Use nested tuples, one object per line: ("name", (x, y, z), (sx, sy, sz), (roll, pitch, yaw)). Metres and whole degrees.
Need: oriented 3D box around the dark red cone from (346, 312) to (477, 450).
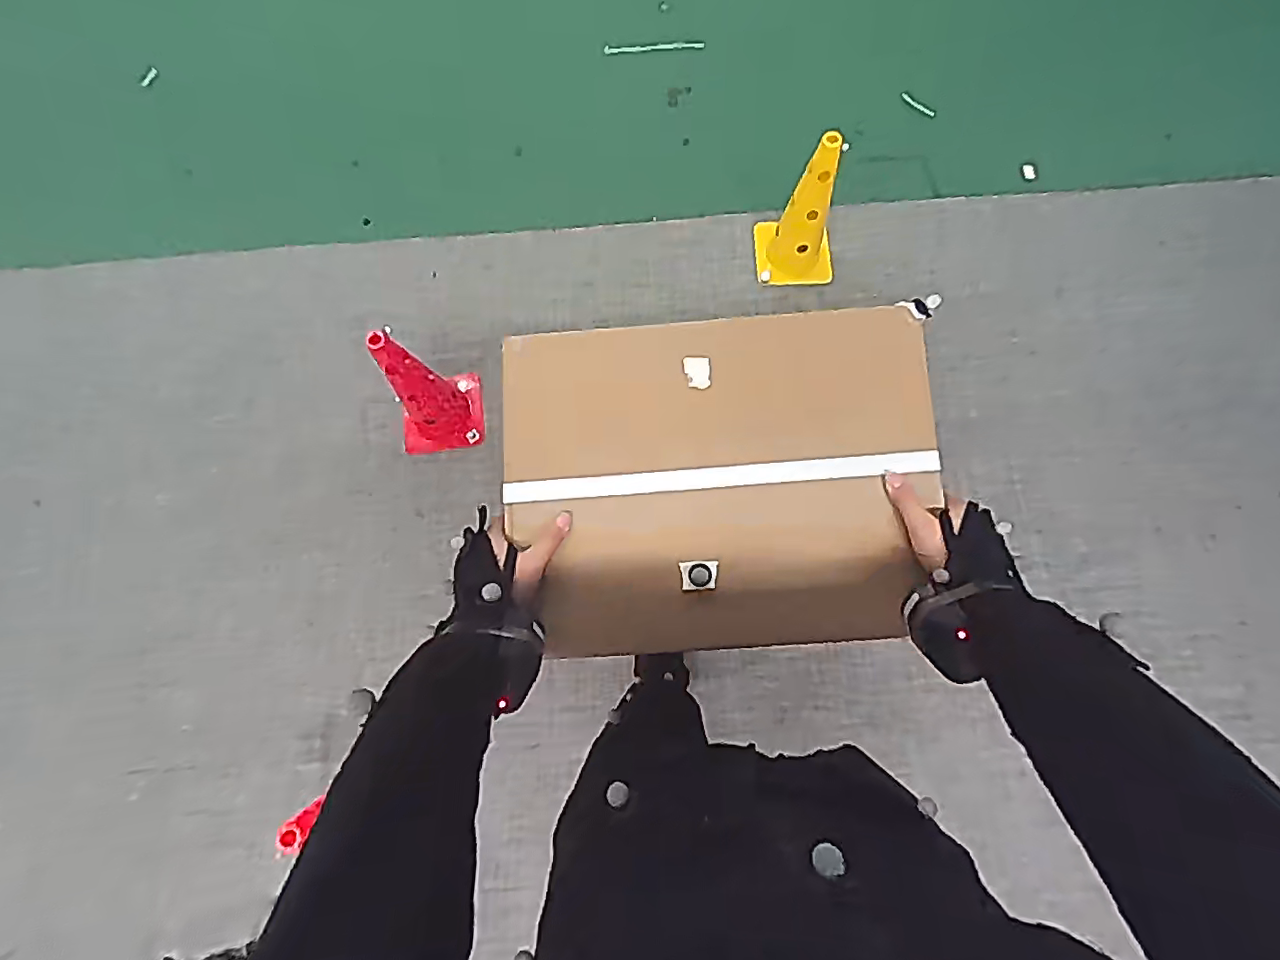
("dark red cone", (-0.514, -0.232, 1.188), (0.202, 0.394, 0.201), (-11, 70, -1))
